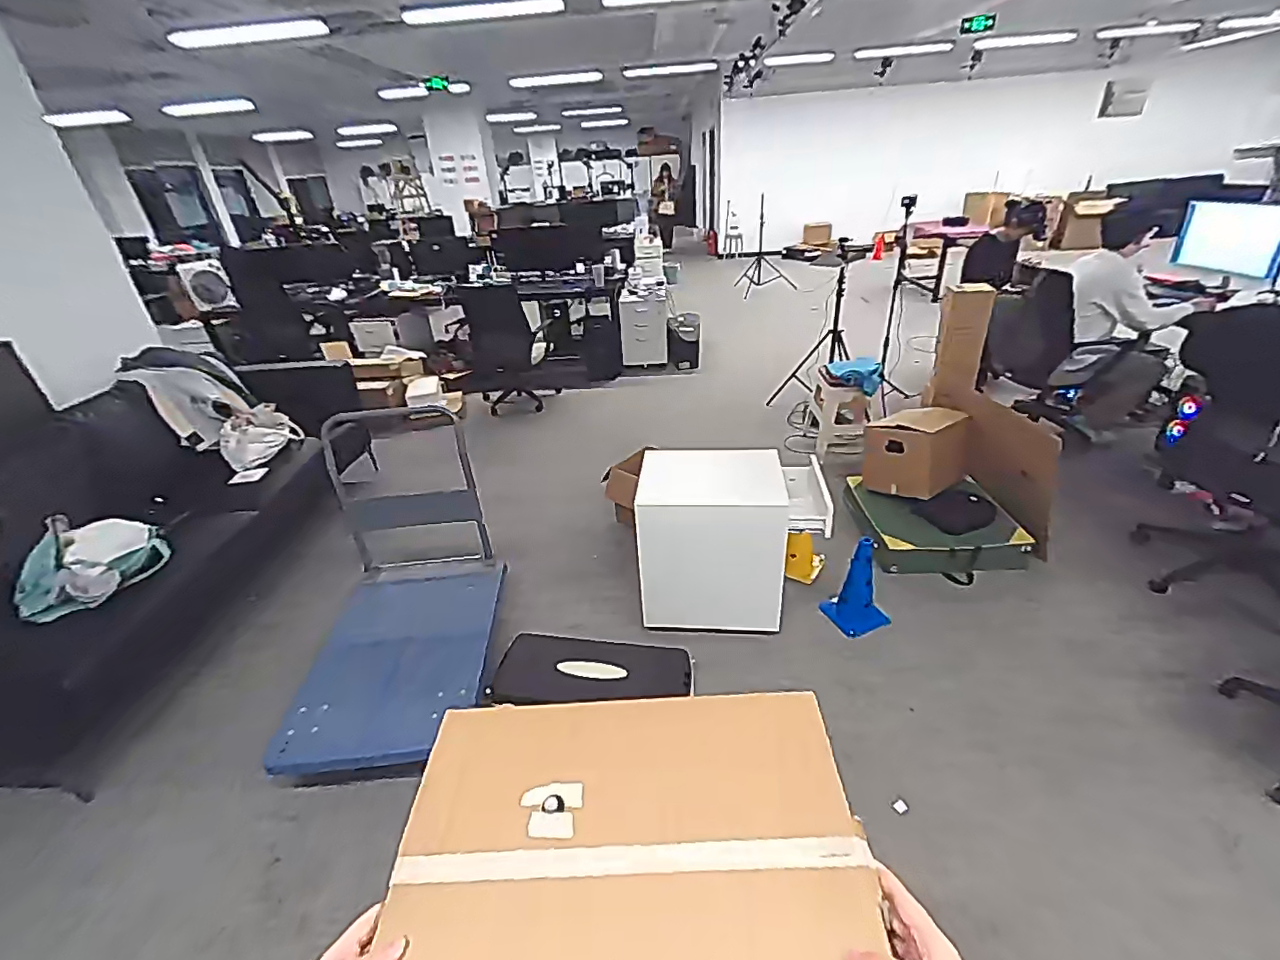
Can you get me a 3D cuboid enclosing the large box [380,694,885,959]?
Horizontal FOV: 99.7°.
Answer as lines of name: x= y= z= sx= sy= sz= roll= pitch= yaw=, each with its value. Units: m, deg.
large box: x=0.006 y=0.461 z=0.556 sx=0.408 sy=0.320 sz=0.320 roll=-6 pitch=34 yaw=4
